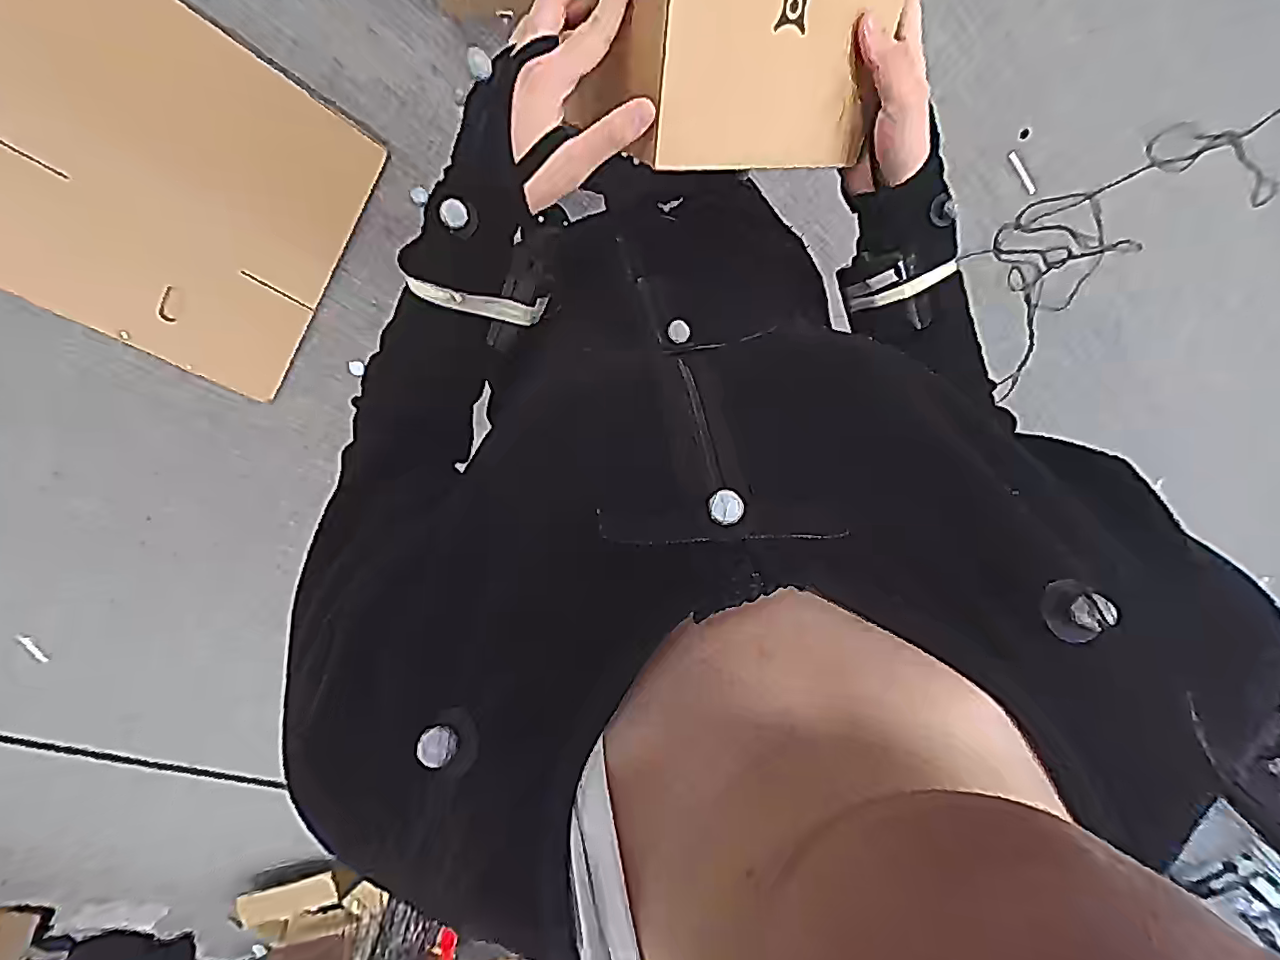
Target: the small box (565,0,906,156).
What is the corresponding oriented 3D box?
[{"bbox_3d":[0.054,-0.329,0.352,0.168,0.176,0.179,-14,134,-21],"label":"small box"}]
